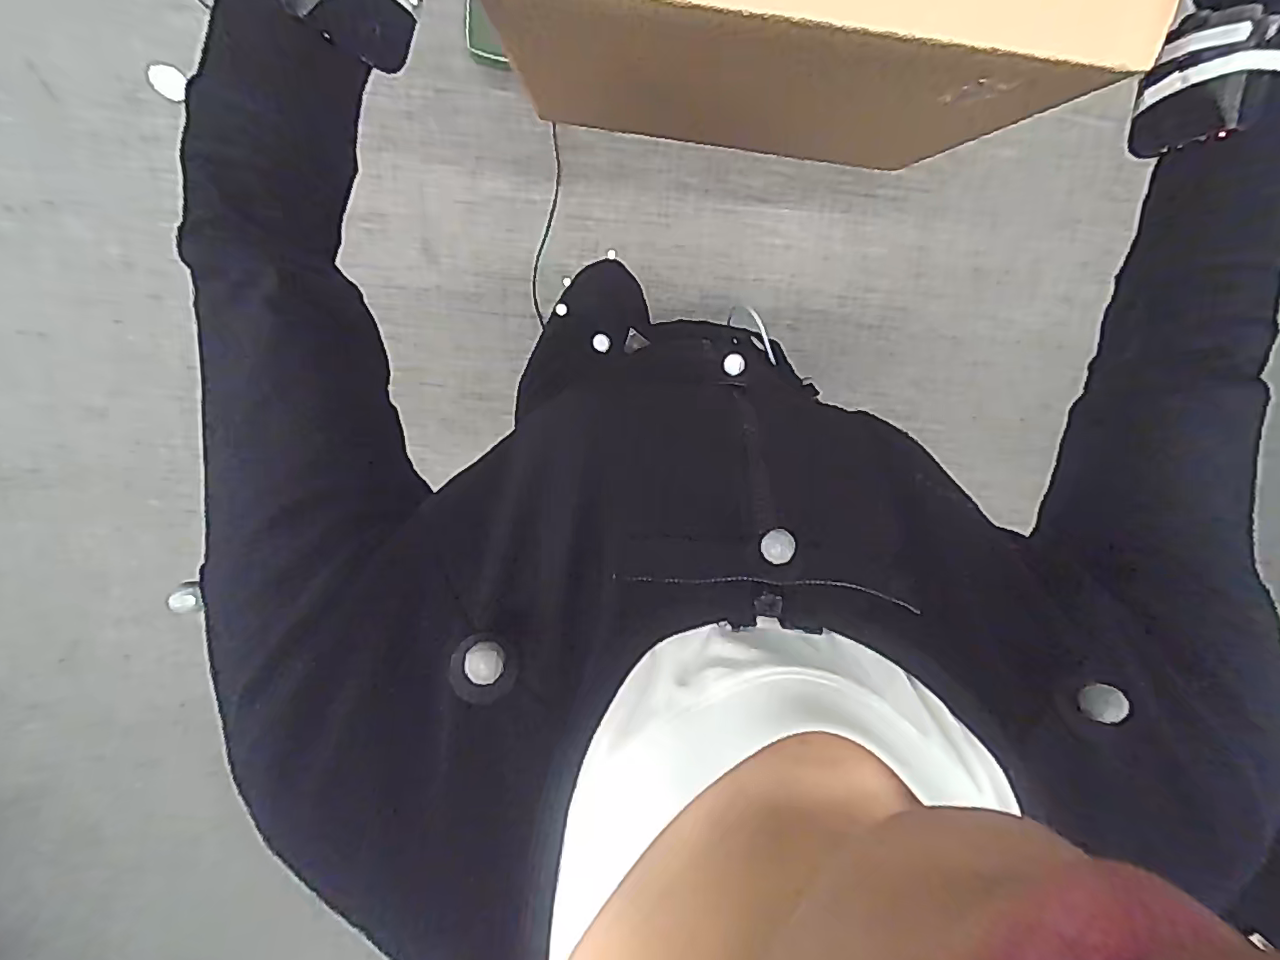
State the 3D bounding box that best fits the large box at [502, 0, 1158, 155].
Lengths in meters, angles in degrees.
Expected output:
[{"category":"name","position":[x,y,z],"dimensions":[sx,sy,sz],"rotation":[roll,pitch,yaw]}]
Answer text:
[{"category":"large box","position":[0.112,-0.466,0.400],"dimensions":[0.408,0.320,0.320],"rotation":[5,111,-5]}]
